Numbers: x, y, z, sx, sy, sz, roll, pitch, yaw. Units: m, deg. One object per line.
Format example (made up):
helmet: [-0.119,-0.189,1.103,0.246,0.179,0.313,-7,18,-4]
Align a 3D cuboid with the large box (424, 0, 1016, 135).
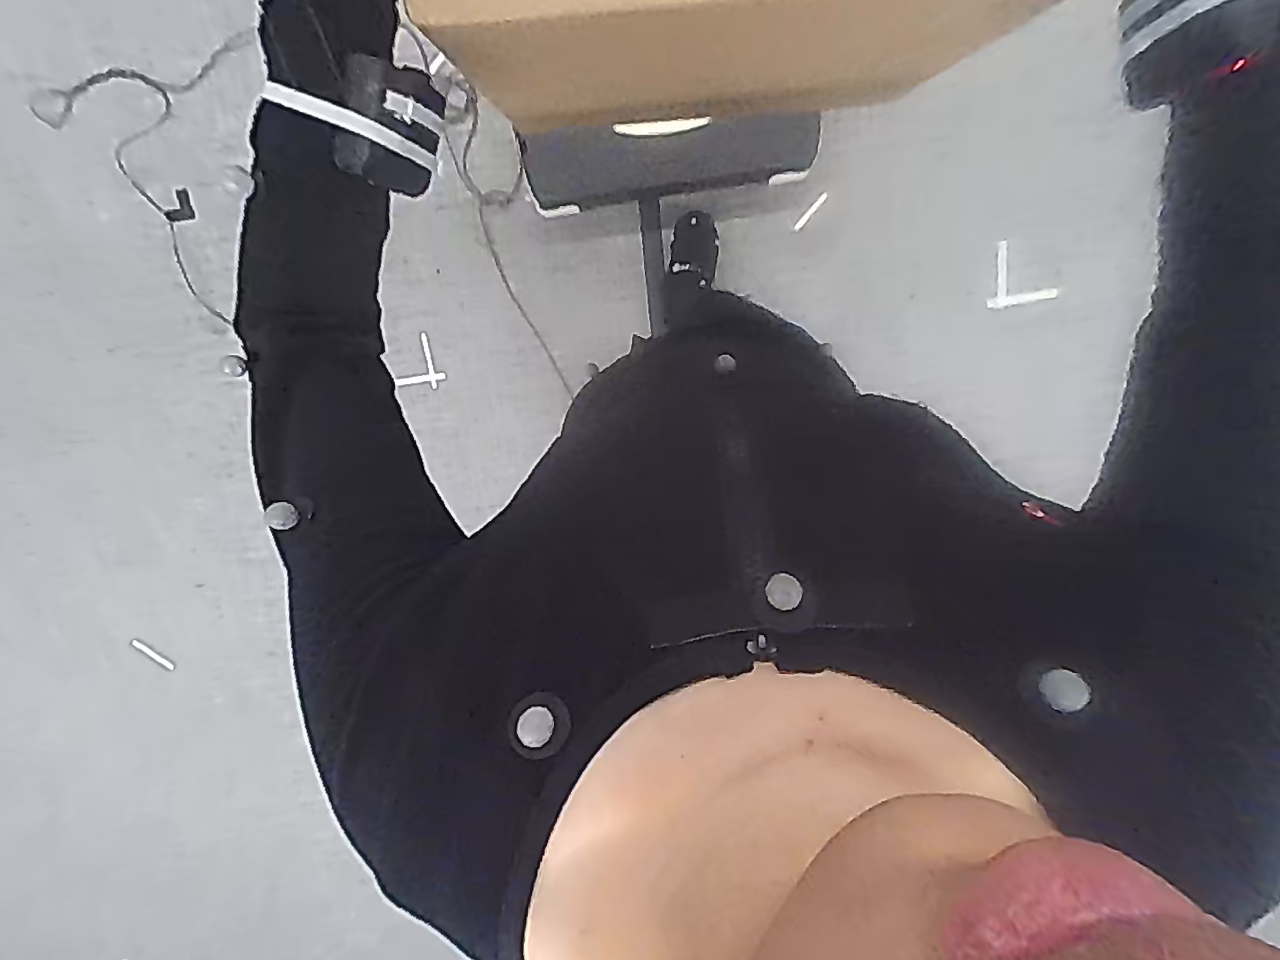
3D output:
large box: [0.054,-0.480,0.394,0.408,0.320,0.320,-5,112,1]
